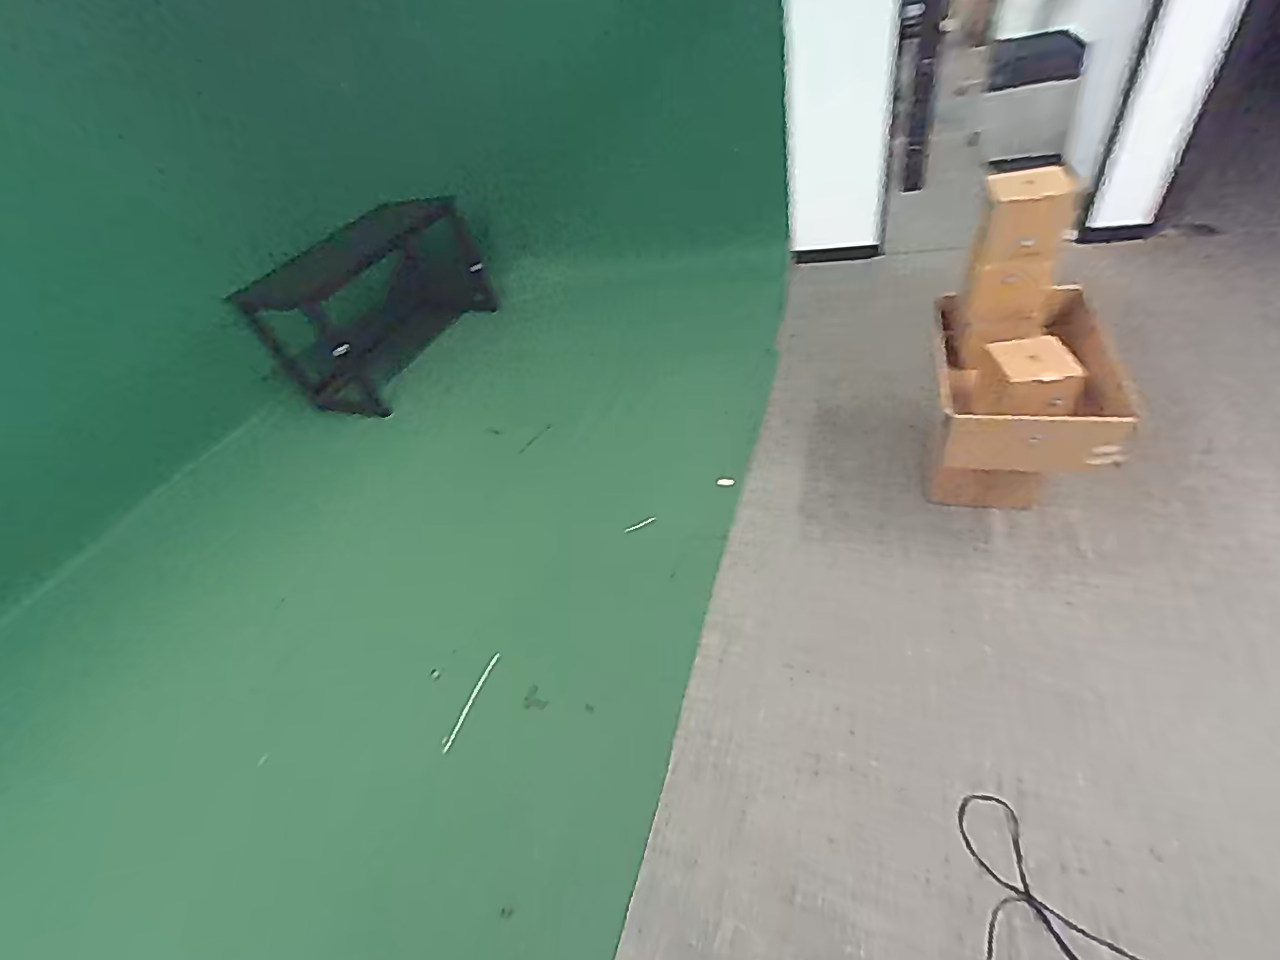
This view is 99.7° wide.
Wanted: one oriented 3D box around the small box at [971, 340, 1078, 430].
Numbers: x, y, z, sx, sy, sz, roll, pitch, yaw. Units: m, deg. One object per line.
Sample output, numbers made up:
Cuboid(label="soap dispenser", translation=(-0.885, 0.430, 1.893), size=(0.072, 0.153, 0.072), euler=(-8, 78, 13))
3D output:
Cuboid(label="small box", translation=(1.022, -0.247, 1.453), size=(0.168, 0.176, 0.179), euler=(-6, 44, 11))

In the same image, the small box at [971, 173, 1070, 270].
Cuboid(label="small box", translation=(0.985, -0.676, 1.419), size=(0.168, 0.176, 0.179), euler=(1, 47, 20))

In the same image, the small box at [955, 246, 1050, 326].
Cuboid(label="small box", translation=(1.014, -0.554, 1.527), size=(0.179, 0.176, 0.168), euler=(-1, 46, 19))
